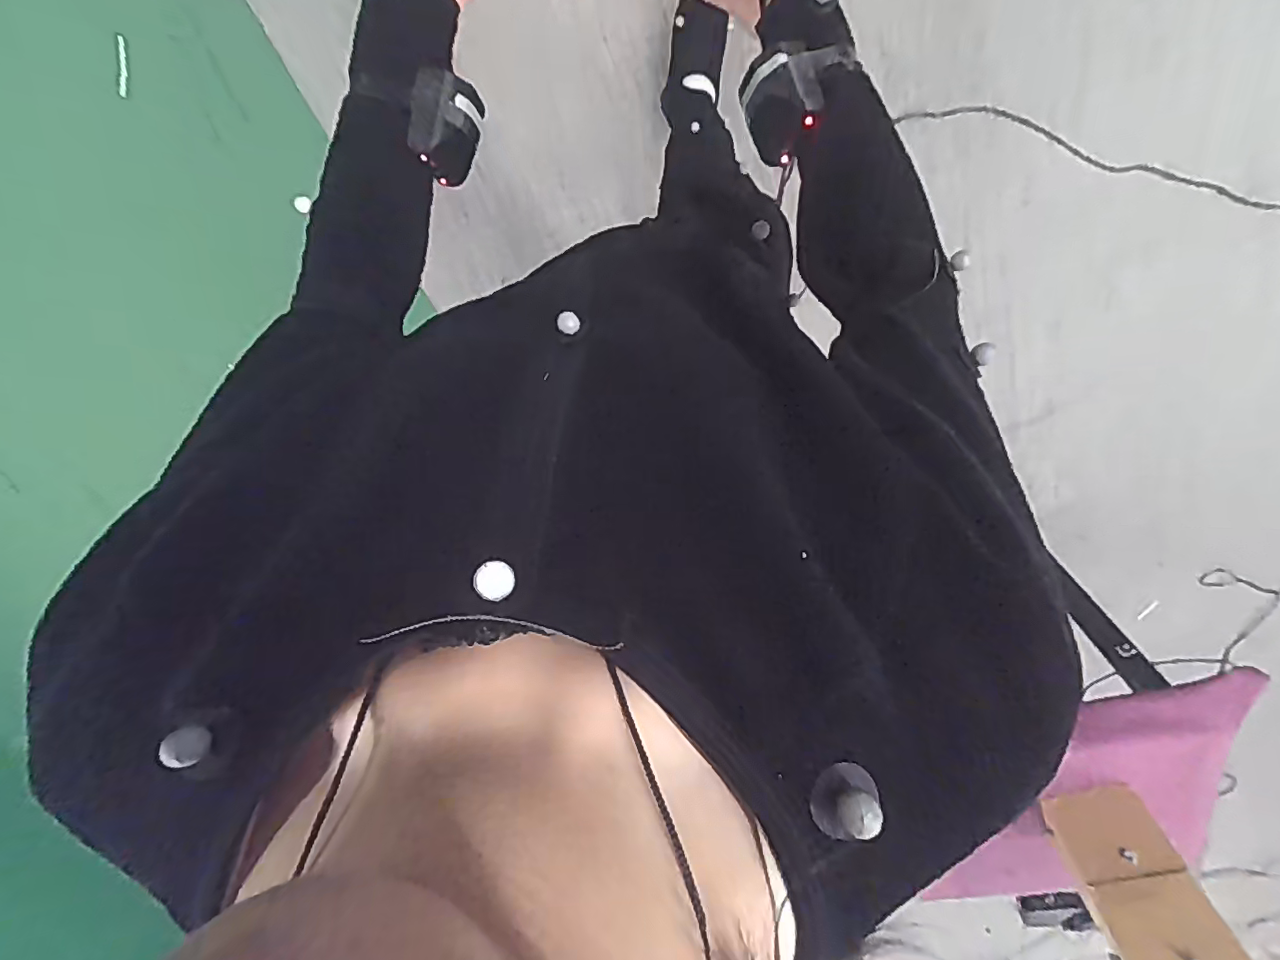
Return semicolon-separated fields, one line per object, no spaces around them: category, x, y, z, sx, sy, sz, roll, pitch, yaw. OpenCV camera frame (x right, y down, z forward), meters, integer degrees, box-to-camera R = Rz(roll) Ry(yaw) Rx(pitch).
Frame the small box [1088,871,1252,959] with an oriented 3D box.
small box;0.941;0.835;0.960;0.179;0.176;0.168;-24;116;17

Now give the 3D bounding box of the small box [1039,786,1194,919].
small box;0.959;0.752;1.098;0.179;0.176;0.168;-21;117;17
